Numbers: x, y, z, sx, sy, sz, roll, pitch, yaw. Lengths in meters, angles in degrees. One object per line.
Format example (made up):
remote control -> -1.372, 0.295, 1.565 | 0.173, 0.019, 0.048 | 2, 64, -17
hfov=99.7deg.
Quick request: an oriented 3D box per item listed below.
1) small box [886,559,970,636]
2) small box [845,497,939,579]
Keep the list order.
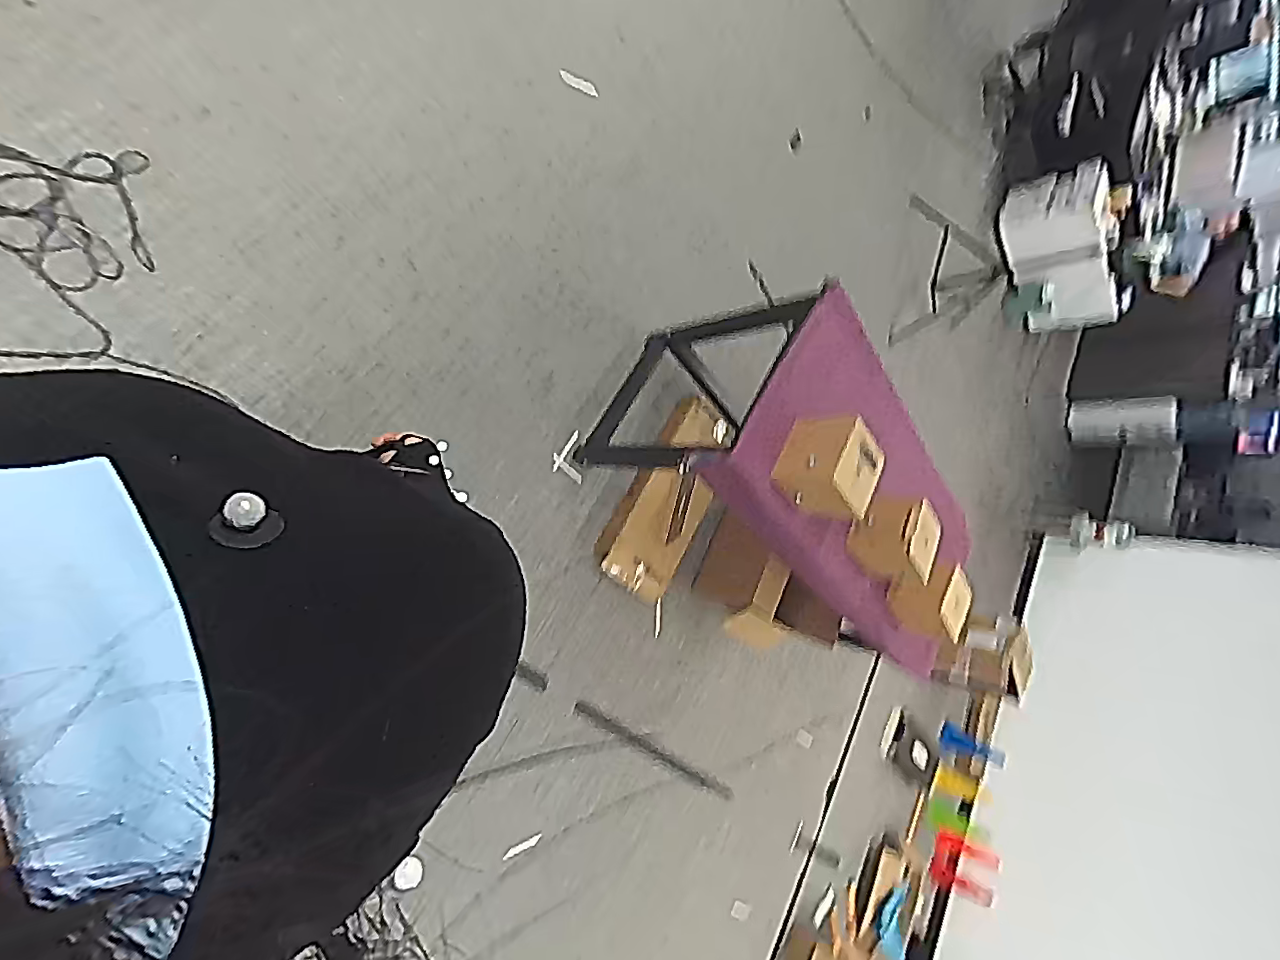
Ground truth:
small box -> 0.895, 0.356, 1.686 | 0.179, 0.176, 0.168 | 50, 62, -30
small box -> 0.710, 0.156, 1.522 | 0.179, 0.176, 0.168 | 42, 64, -33
